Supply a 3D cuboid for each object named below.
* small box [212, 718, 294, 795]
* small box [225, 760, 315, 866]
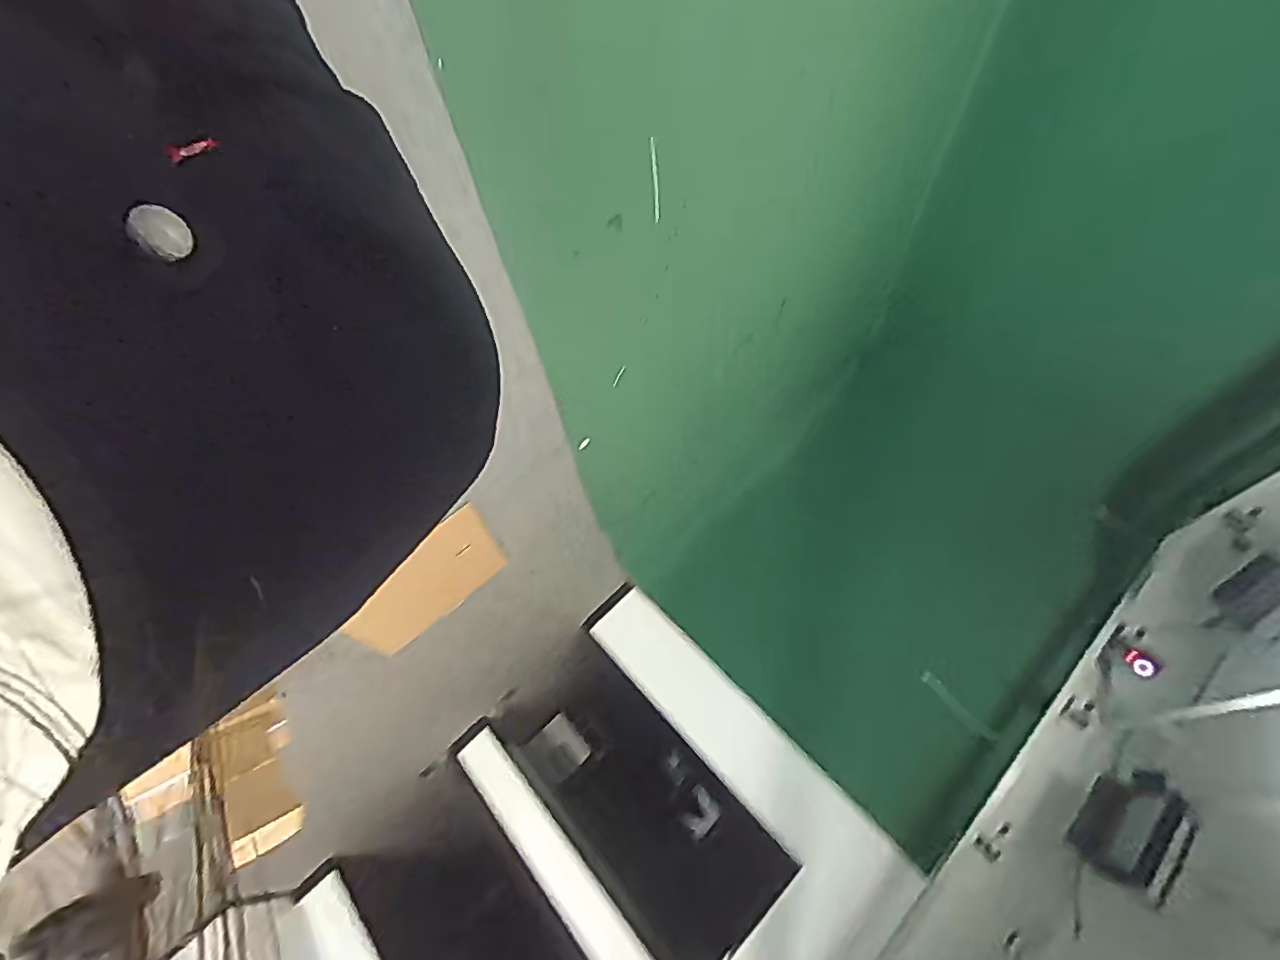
[{"bbox_3d":[-1.189,0.867,1.662,0.168,0.176,0.179,-17,139,-47],"label":"small box"},{"bbox_3d":[-1.087,0.970,1.591,0.179,0.176,0.168,-17,140,-45],"label":"small box"}]
